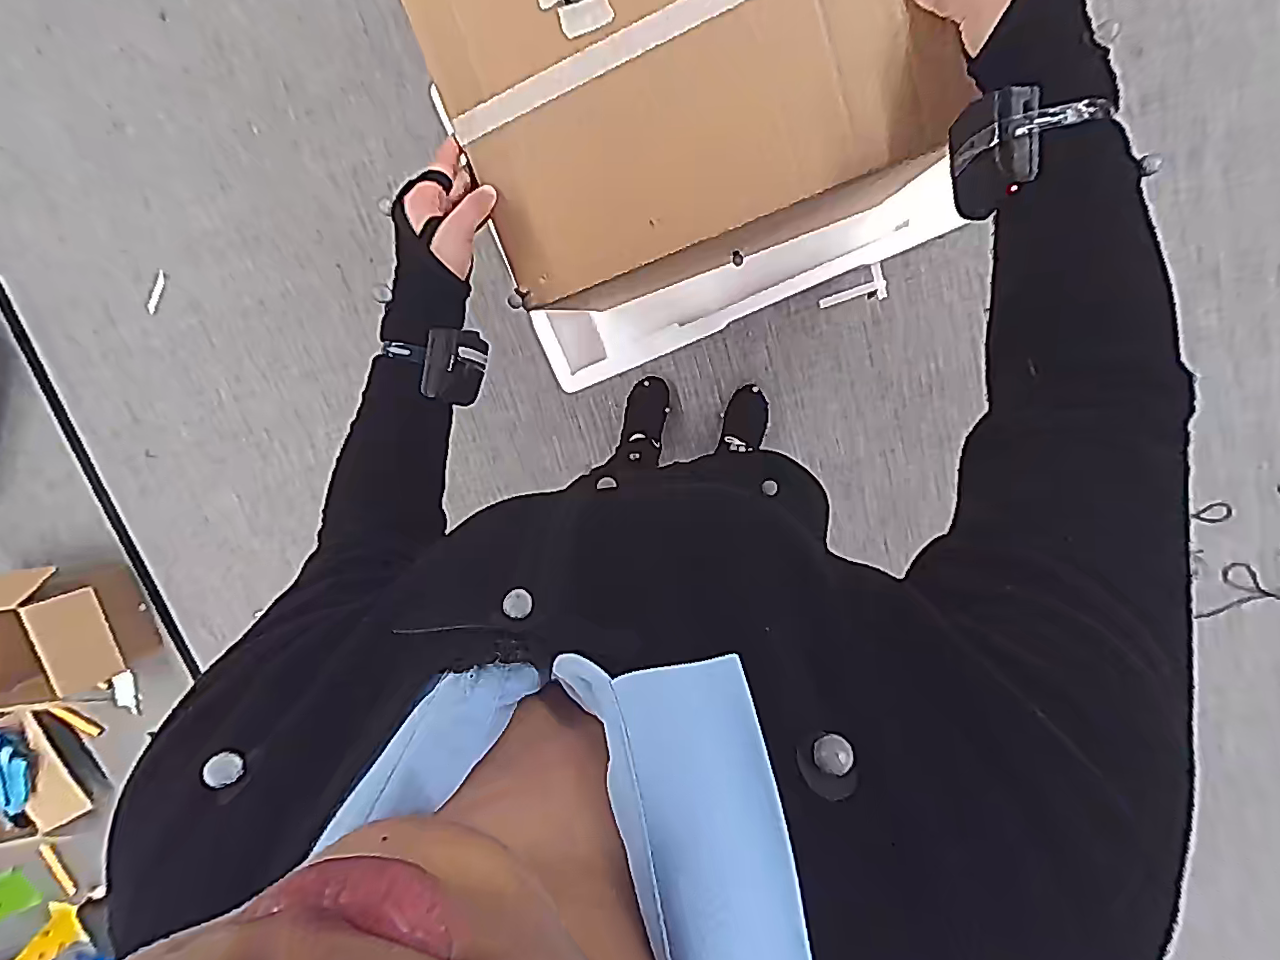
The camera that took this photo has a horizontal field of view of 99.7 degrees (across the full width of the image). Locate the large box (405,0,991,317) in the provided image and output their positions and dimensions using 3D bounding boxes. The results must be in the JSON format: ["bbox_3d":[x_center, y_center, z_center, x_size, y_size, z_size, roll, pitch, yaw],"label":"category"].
[{"bbox_3d":[0.055,-0.391,0.563,0.408,0.320,0.320,-18,101,14],"label":"large box"}]
